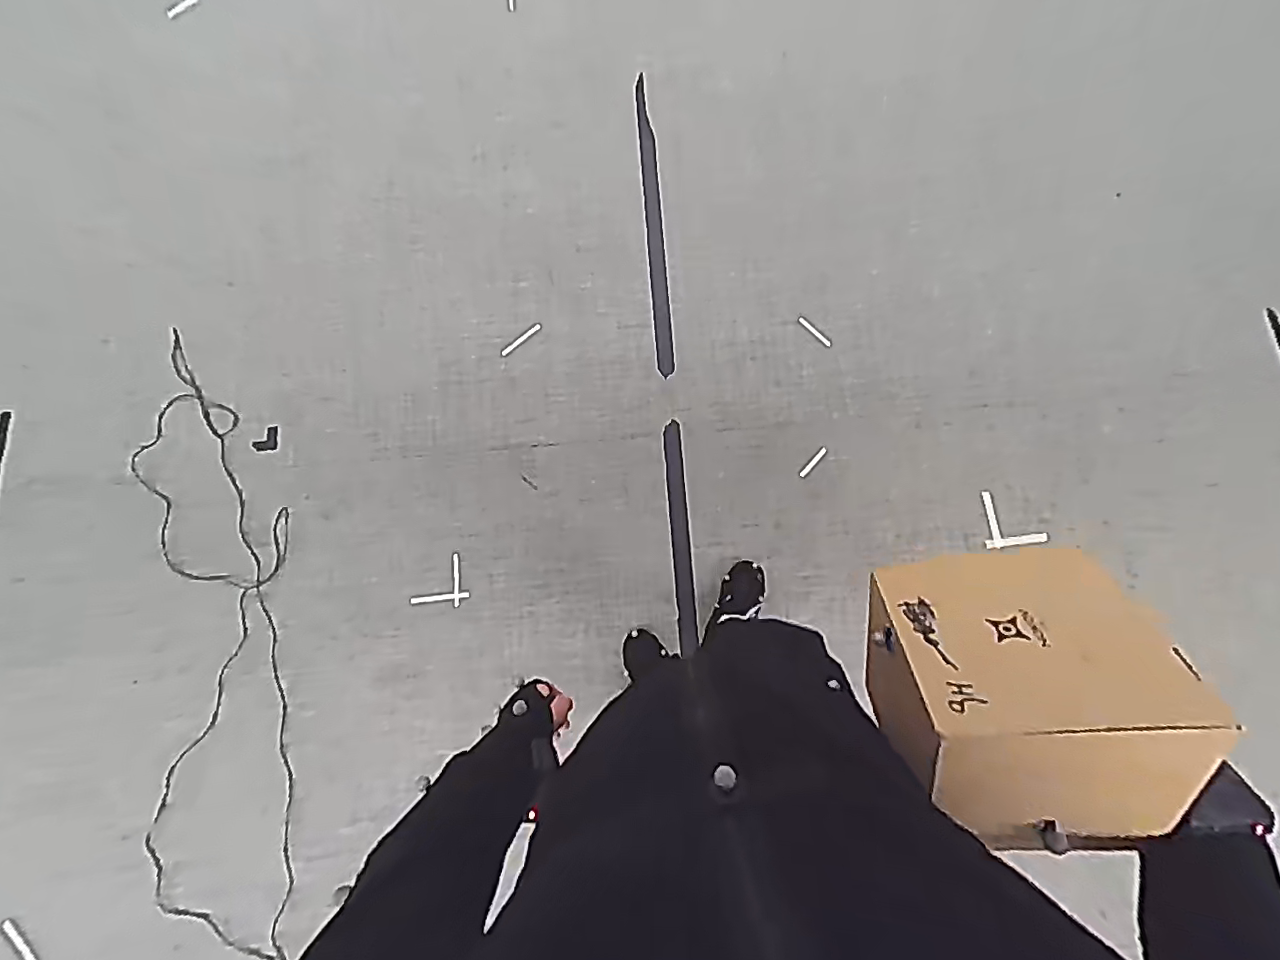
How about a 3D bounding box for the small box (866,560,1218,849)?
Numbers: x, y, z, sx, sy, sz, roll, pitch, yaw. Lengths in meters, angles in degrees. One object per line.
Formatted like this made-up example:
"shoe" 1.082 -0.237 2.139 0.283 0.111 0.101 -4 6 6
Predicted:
"small box" 0.308 0.192 0.468 0.179 0.168 0.176 -7 123 10
